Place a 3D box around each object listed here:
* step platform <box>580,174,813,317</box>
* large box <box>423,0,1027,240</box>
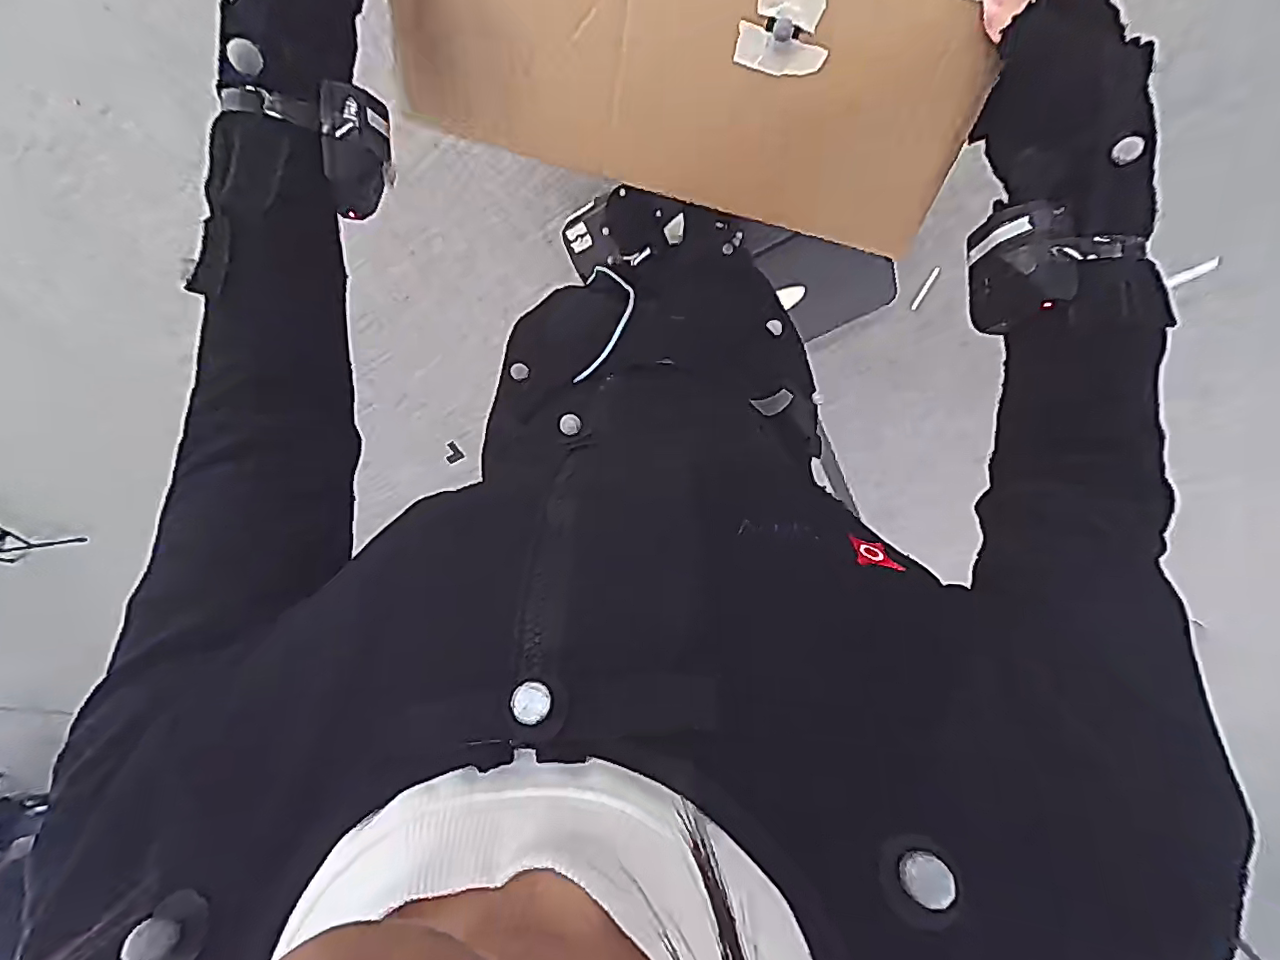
[{"bbox_3d":[0.197,-0.667,1.259,0.684,0.204,0.286,-24,118,21],"label":"step platform"},{"bbox_3d":[0.078,-0.446,0.445,0.408,0.320,0.320,17,132,1],"label":"large box"}]
